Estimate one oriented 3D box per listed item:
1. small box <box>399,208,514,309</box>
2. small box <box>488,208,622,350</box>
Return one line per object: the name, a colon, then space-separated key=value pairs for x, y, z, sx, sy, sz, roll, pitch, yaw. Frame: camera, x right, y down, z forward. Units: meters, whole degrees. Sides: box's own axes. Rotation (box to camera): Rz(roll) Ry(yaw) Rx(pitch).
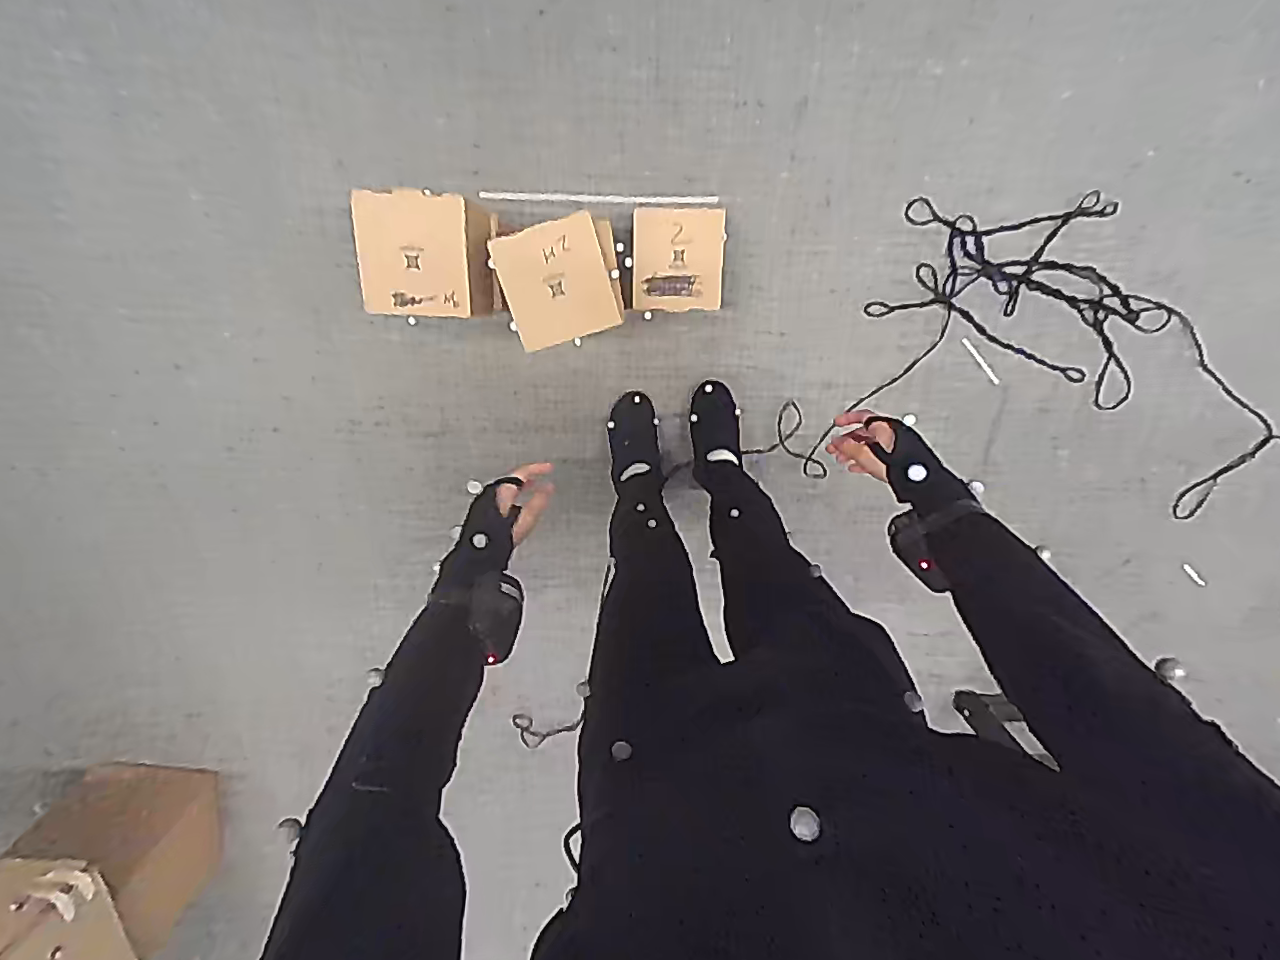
small box: x=-0.340 y=-0.422 z=1.047 sx=0.179 sy=0.176 sz=0.168 roll=1 pitch=108 yaw=-1
small box: x=-0.129 y=-0.333 z=0.910 sx=0.168 sy=0.176 sz=0.179 roll=-15 pitch=108 yaw=4
